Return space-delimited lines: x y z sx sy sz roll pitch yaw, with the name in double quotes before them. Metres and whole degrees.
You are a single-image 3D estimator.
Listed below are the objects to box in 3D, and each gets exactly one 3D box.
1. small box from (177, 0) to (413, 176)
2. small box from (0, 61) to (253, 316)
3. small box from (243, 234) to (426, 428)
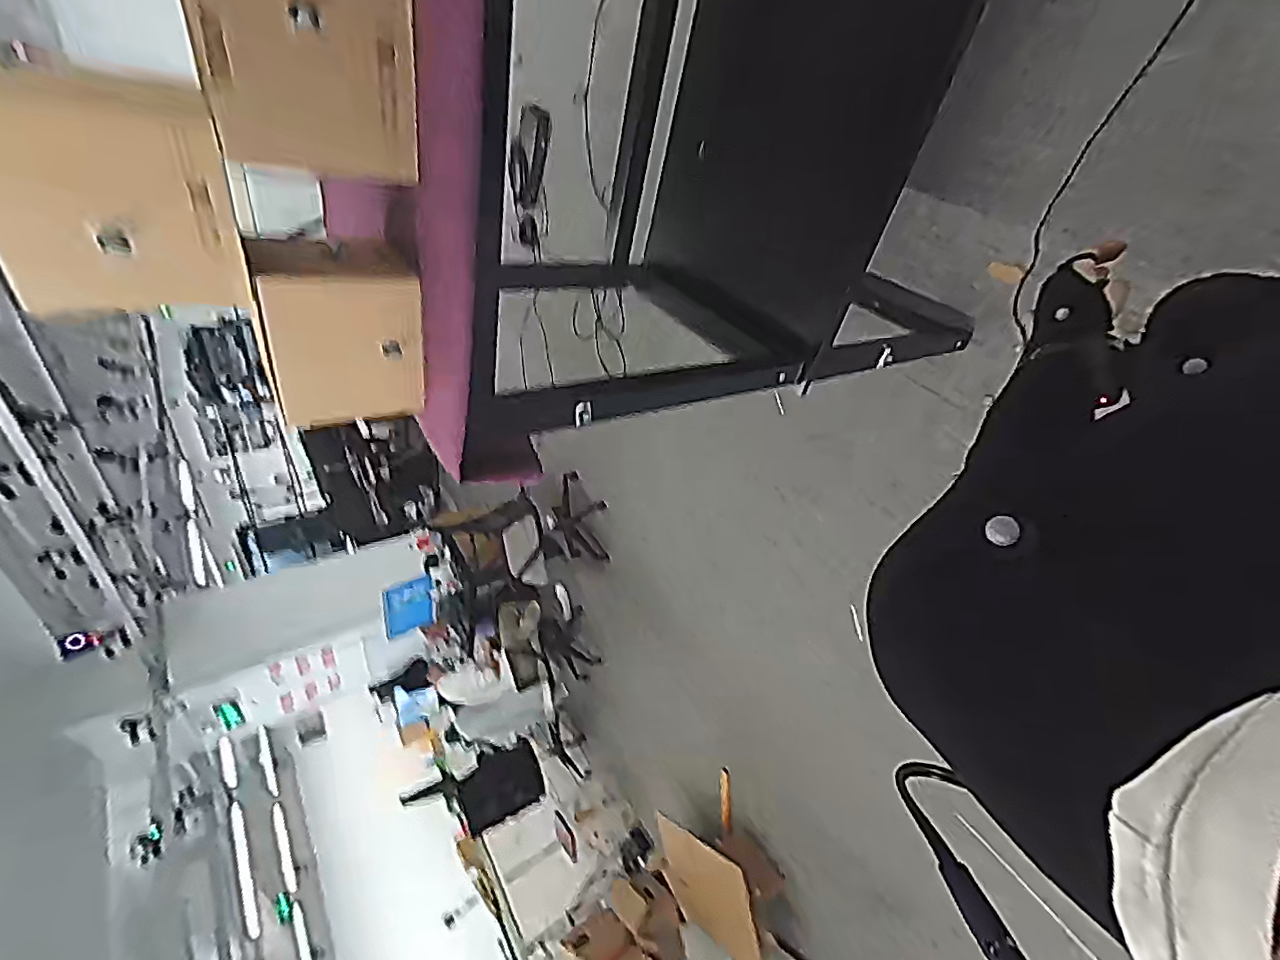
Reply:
"small box" -0.323 -0.405 0.514 0.179 0.176 0.168 49 138 35
"small box" -0.483 -0.271 0.505 0.179 0.176 0.168 47 138 36
"small box" -0.377 -0.189 0.674 0.168 0.176 0.179 45 135 37
